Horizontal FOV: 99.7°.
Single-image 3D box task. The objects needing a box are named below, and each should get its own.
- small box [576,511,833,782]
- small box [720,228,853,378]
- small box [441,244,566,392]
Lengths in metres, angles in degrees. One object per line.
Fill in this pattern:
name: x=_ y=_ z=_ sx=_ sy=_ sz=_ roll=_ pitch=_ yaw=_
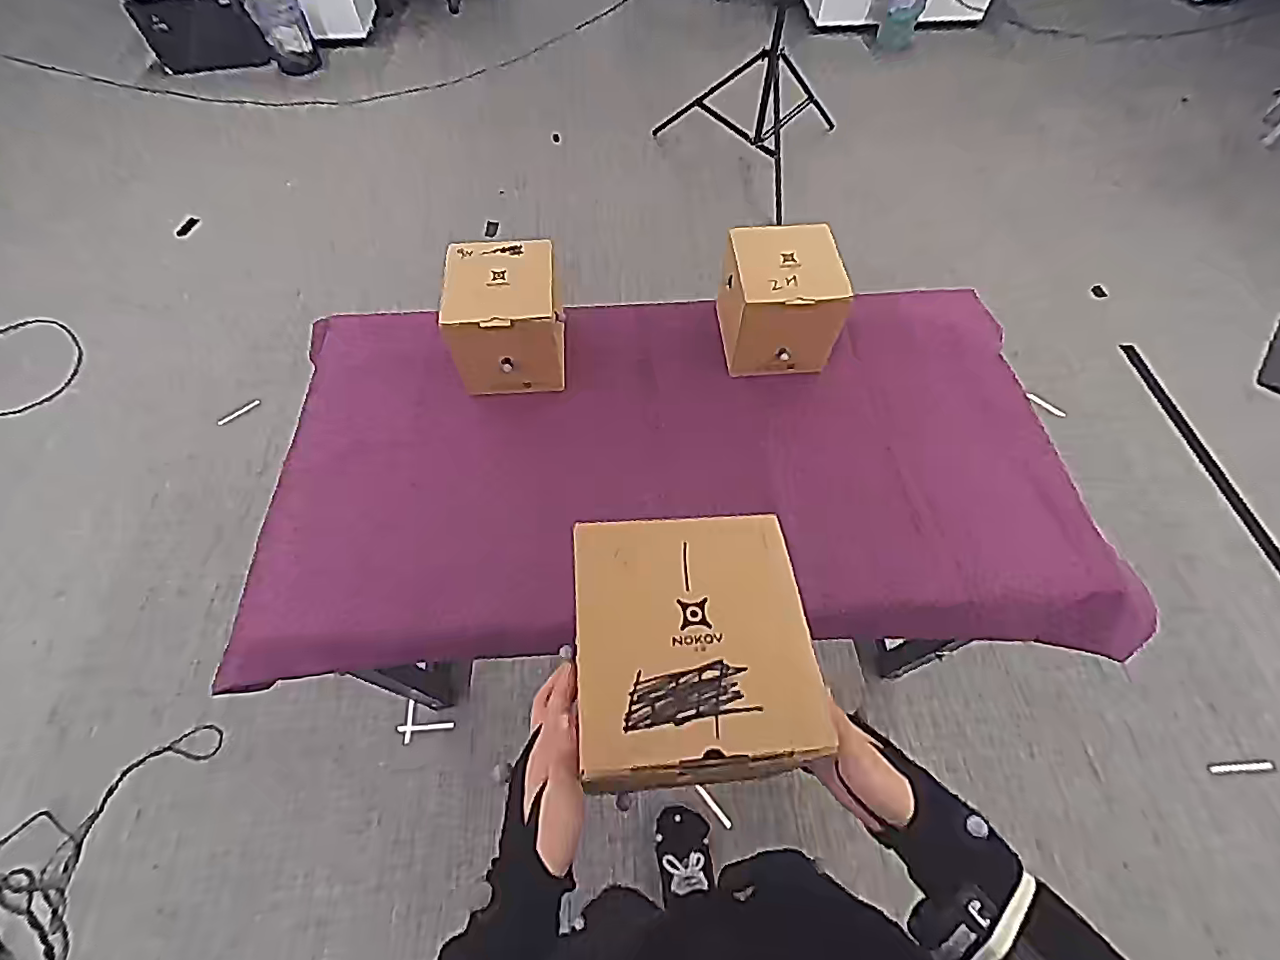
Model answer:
small box: x=0.033 y=0.144 z=0.449 sx=0.168 sy=0.176 sz=0.179 roll=-2 pitch=55 yaw=-6
small box: x=0.233 y=-0.295 z=0.913 sx=0.168 sy=0.176 sz=0.179 roll=-3 pitch=61 yaw=-1
small box: x=-0.213 y=-0.258 z=0.892 sx=0.168 sy=0.176 sz=0.179 roll=-3 pitch=62 yaw=-3
